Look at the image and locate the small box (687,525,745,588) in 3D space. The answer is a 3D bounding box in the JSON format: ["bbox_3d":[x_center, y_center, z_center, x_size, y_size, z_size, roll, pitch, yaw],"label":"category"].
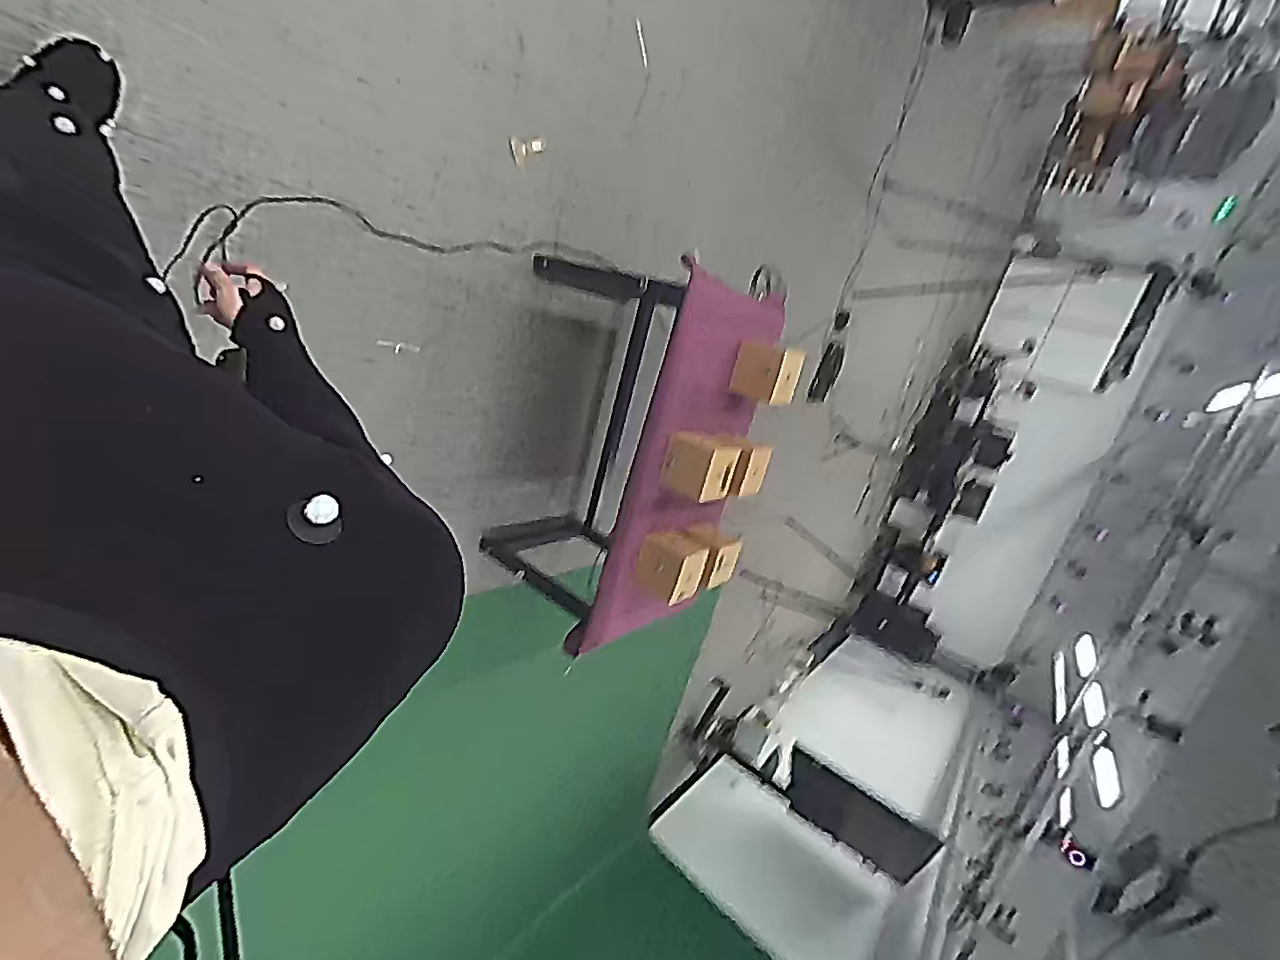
[{"bbox_3d":[0.262,0.279,2.016,0.179,0.176,0.168,-5,116,-54],"label":"small box"}]

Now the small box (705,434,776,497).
[{"bbox_3d":[0.353,-0.056,1.922,0.168,0.176,0.179,-8,117,-52],"label":"small box"}]

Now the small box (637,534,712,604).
[{"bbox_3d":[0.111,0.289,1.816,0.168,0.176,0.179,-3,113,-54],"label":"small box"}]

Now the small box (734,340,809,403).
[{"bbox_3d":[0.440,-0.369,1.829,0.168,0.176,0.179,-9,119,-50],"label":"small box"}]
